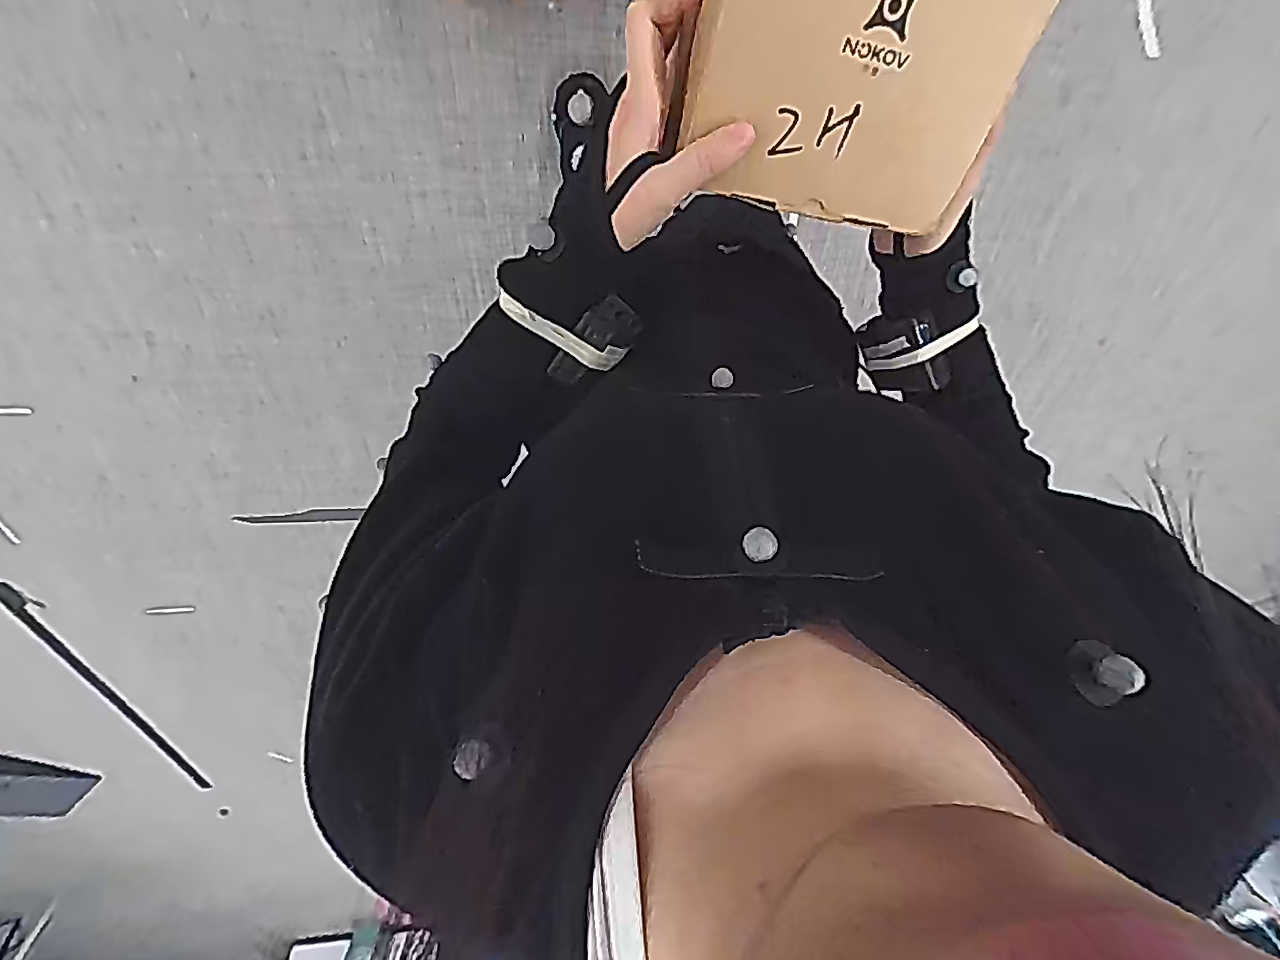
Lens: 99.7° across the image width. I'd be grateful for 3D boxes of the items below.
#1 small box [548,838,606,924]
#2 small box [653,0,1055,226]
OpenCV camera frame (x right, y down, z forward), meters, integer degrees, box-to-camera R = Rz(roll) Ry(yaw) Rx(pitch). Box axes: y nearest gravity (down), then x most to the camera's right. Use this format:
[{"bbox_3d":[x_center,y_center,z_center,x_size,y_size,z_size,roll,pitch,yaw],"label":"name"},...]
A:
[{"bbox_3d":[-0.198,1.227,1.658,0.168,0.176,0.179,-1,128,-10],"label":"small box"},{"bbox_3d":[0.111,-0.280,0.320,0.168,0.176,0.179,6,130,-13],"label":"small box"}]
